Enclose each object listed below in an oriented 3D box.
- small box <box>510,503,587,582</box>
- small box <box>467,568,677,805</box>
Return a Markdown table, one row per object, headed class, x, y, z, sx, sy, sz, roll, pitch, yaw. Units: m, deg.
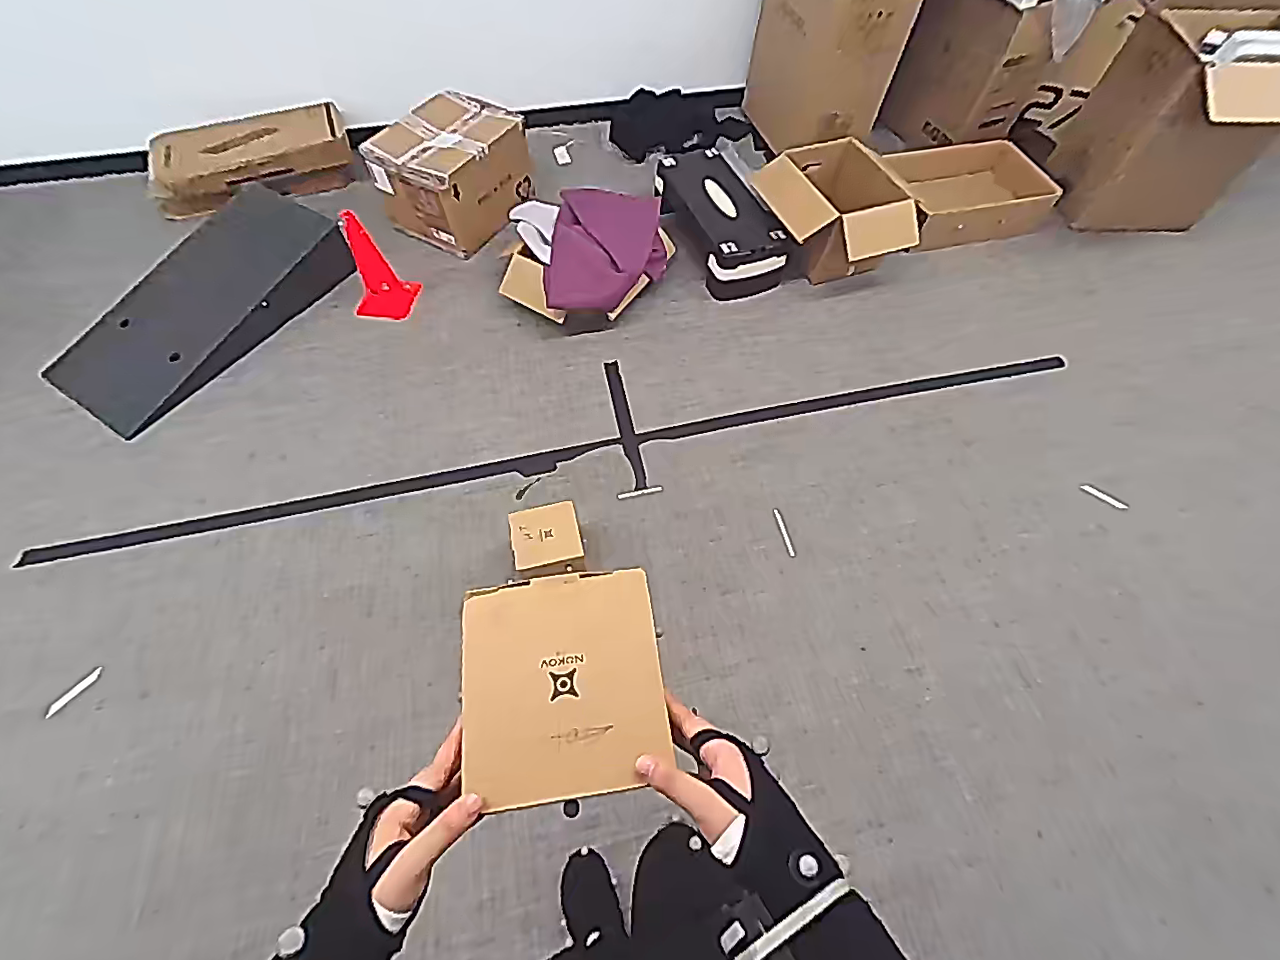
| class | x | y | z | sx | sy | sz | roll | pitch | yaw |
| --- | --- | --- | --- | --- | --- | --- | --- | --- | --- |
| small box | -0.243 | 0.186 | 1.470 | 0.179 | 0.176 | 0.168 | -12 | 61 | -7 |
| small box | -0.064 | 0.202 | 0.526 | 0.168 | 0.176 | 0.179 | -6 | 63 | -5 |
